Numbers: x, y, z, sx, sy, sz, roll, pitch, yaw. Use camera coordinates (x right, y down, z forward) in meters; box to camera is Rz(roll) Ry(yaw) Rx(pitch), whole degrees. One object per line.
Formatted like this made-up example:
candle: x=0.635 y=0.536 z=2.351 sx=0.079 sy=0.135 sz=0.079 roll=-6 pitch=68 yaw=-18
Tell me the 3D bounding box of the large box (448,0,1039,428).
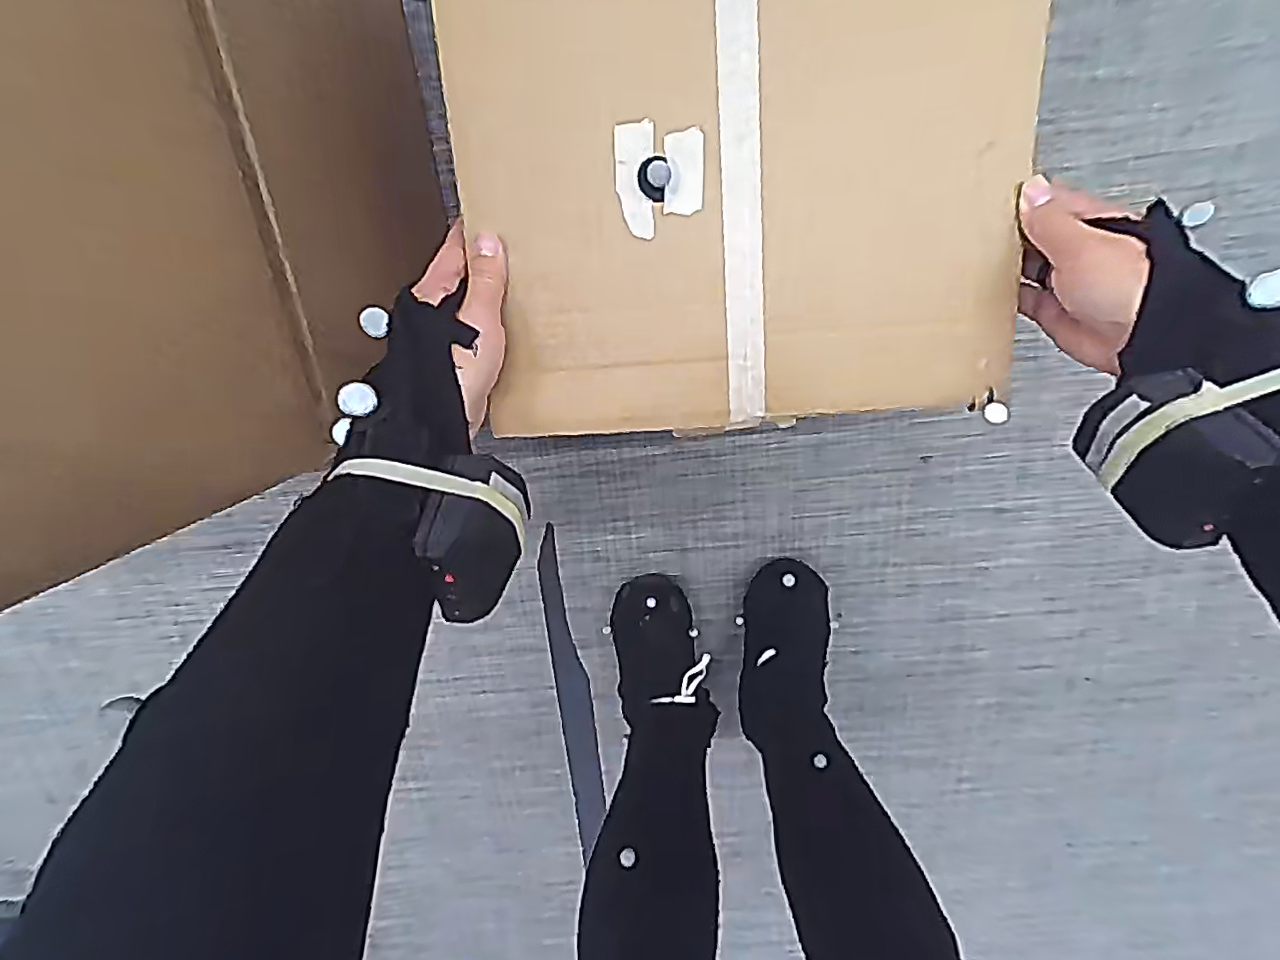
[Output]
large box: x=0.057 y=-0.275 z=0.428 sx=0.320 sy=0.320 sz=0.408 roll=-4 pitch=105 yaw=3
